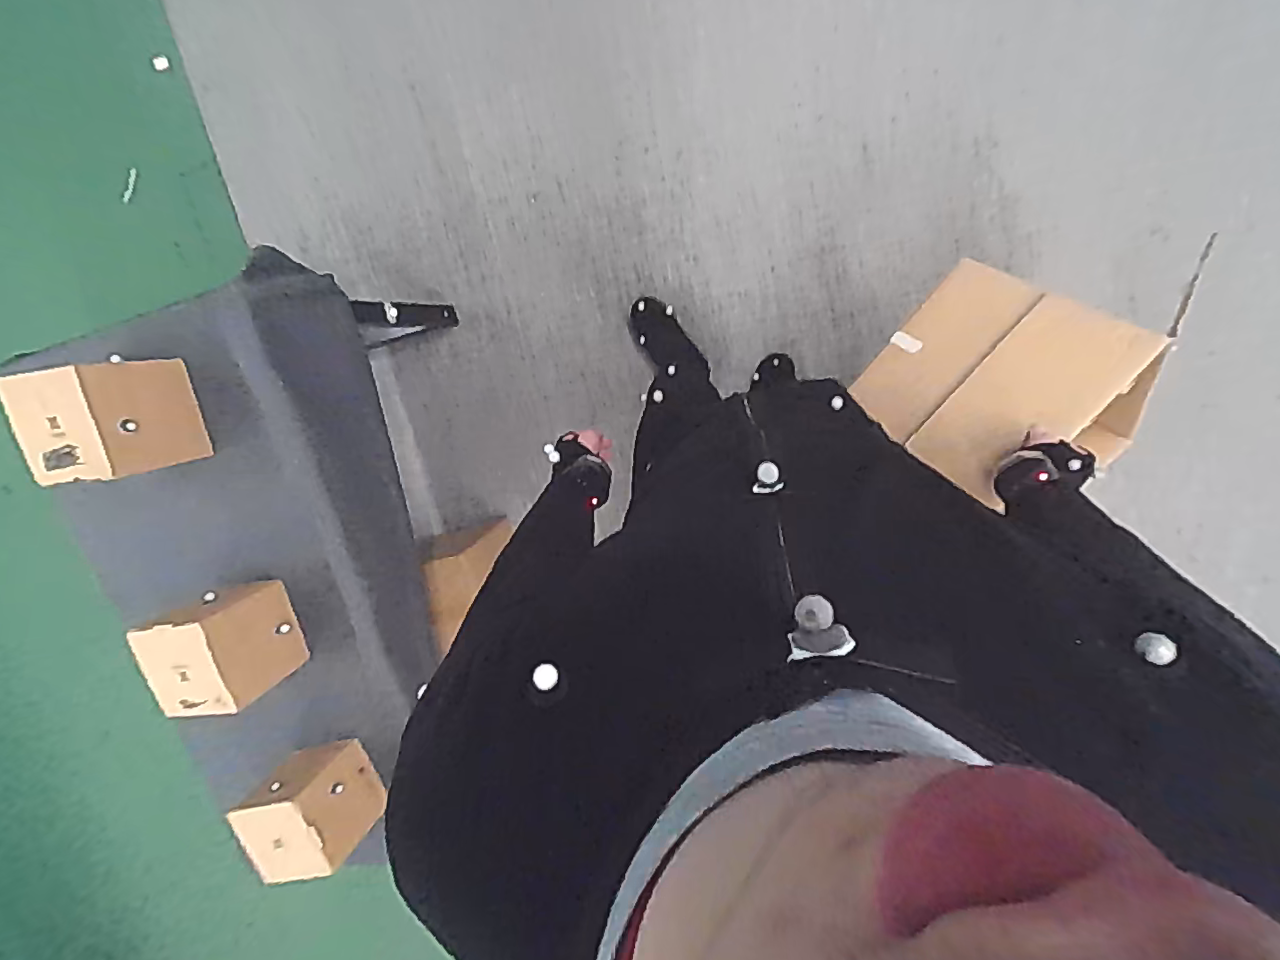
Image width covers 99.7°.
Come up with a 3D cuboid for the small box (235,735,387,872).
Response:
[{"bbox_3d":[-0.642,0.639,1.083,0.179,0.176,0.168,-19,99,19],"label":"small box"}]

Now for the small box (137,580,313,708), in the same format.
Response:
[{"bbox_3d":[-0.760,0.296,1.009,0.168,0.176,0.179,-8,103,14],"label":"small box"}]

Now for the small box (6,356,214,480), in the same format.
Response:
[{"bbox_3d":[-0.876,-0.109,0.915,0.168,0.176,0.179,-4,104,13],"label":"small box"}]
